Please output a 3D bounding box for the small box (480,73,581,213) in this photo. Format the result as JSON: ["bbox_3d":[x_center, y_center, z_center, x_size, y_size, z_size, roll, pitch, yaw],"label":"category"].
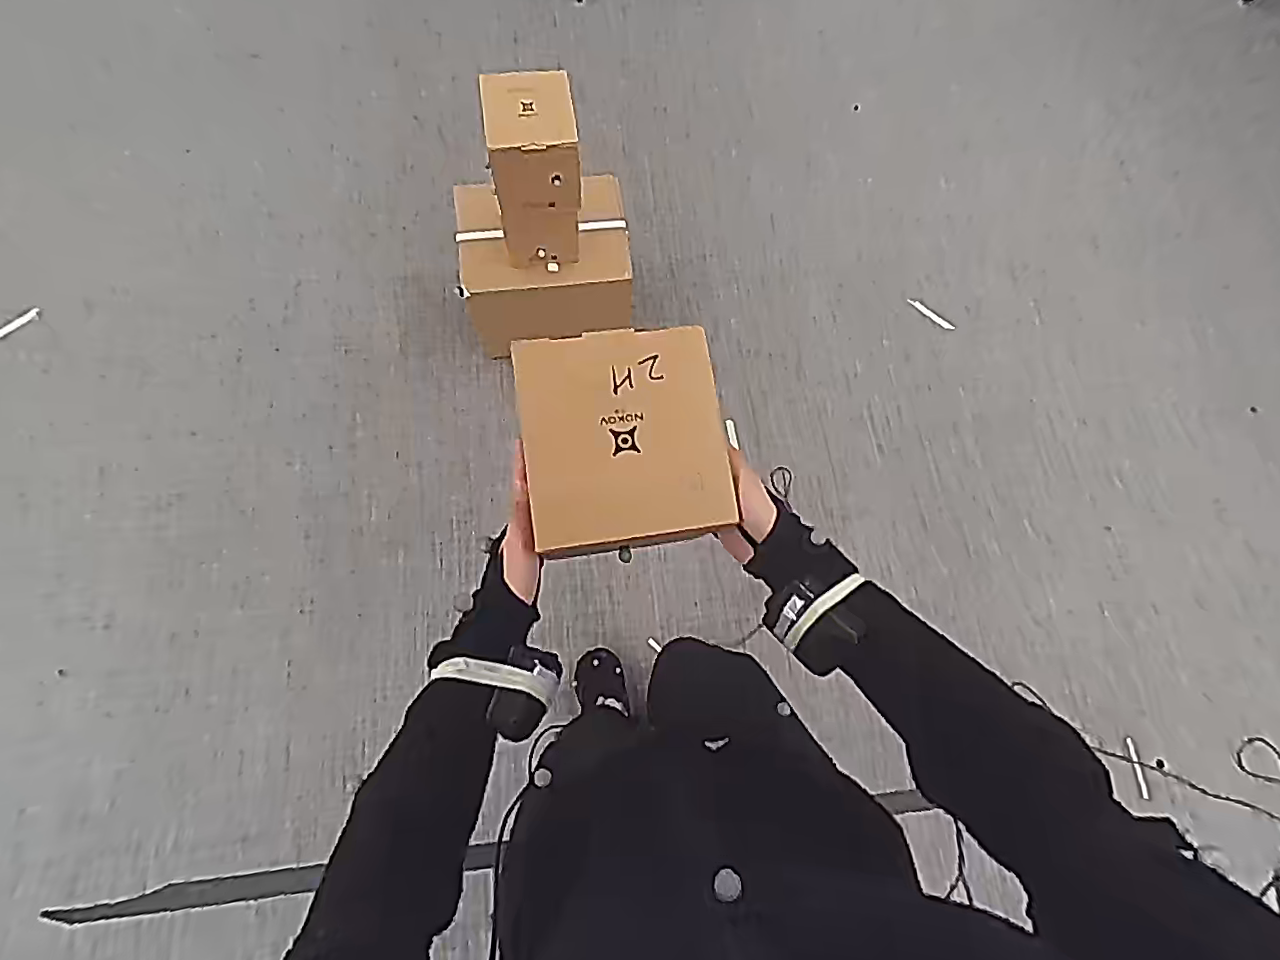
[{"bbox_3d":[-0.209,-0.649,1.062,0.168,0.176,0.179,-8,75,-8],"label":"small box"}]

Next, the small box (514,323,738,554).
[{"bbox_3d":[-0.020,-0.026,0.516,0.168,0.176,0.179,-8,80,-9],"label":"small box"}]

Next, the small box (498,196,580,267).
[{"bbox_3d":[-0.227,-0.611,1.219,0.168,0.176,0.179,-8,76,-6],"label":"small box"}]
